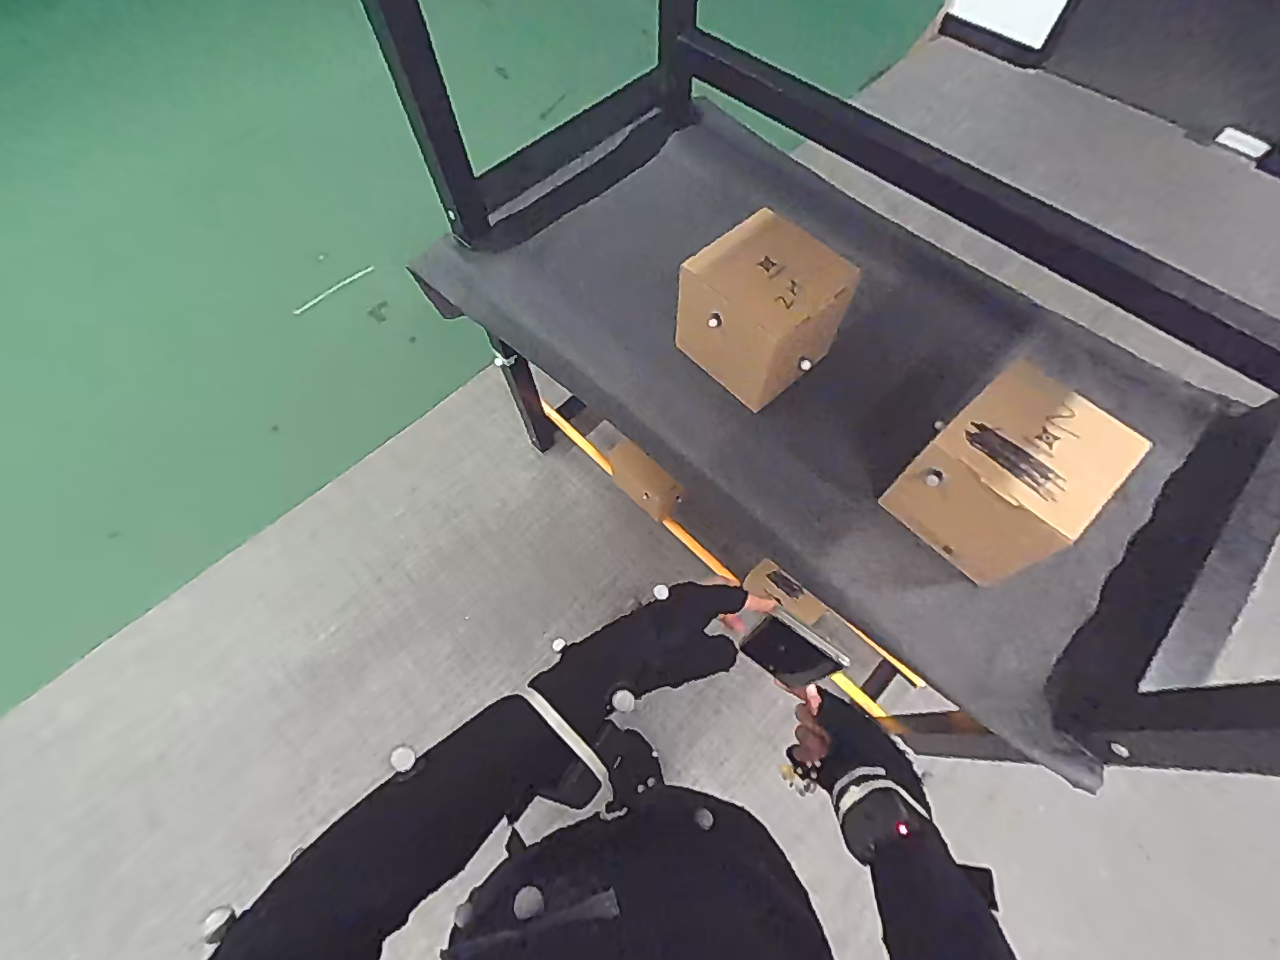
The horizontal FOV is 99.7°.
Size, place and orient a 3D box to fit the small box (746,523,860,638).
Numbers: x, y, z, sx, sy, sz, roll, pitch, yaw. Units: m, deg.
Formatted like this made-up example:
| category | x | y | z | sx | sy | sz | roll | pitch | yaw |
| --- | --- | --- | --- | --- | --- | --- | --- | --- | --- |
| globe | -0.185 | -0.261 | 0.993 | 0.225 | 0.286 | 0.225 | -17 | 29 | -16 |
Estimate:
| category | x | y | z | sx | sy | sz | roll | pitch | yaw |
| --- | --- | --- | --- | --- | --- | --- | --- | --- | --- |
| small box | 0.357 | 0.234 | 1.230 | 0.179 | 0.176 | 0.168 | -39 | 70 | -15 |

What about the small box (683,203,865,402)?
| category | x | y | z | sx | sy | sz | roll | pitch | yaw |
| --- | --- | --- | --- | --- | --- | --- | --- | --- | --- |
| small box | 0.175 | -0.245 | 0.772 | 0.168 | 0.176 | 0.179 | -39 | 70 | -15 |
